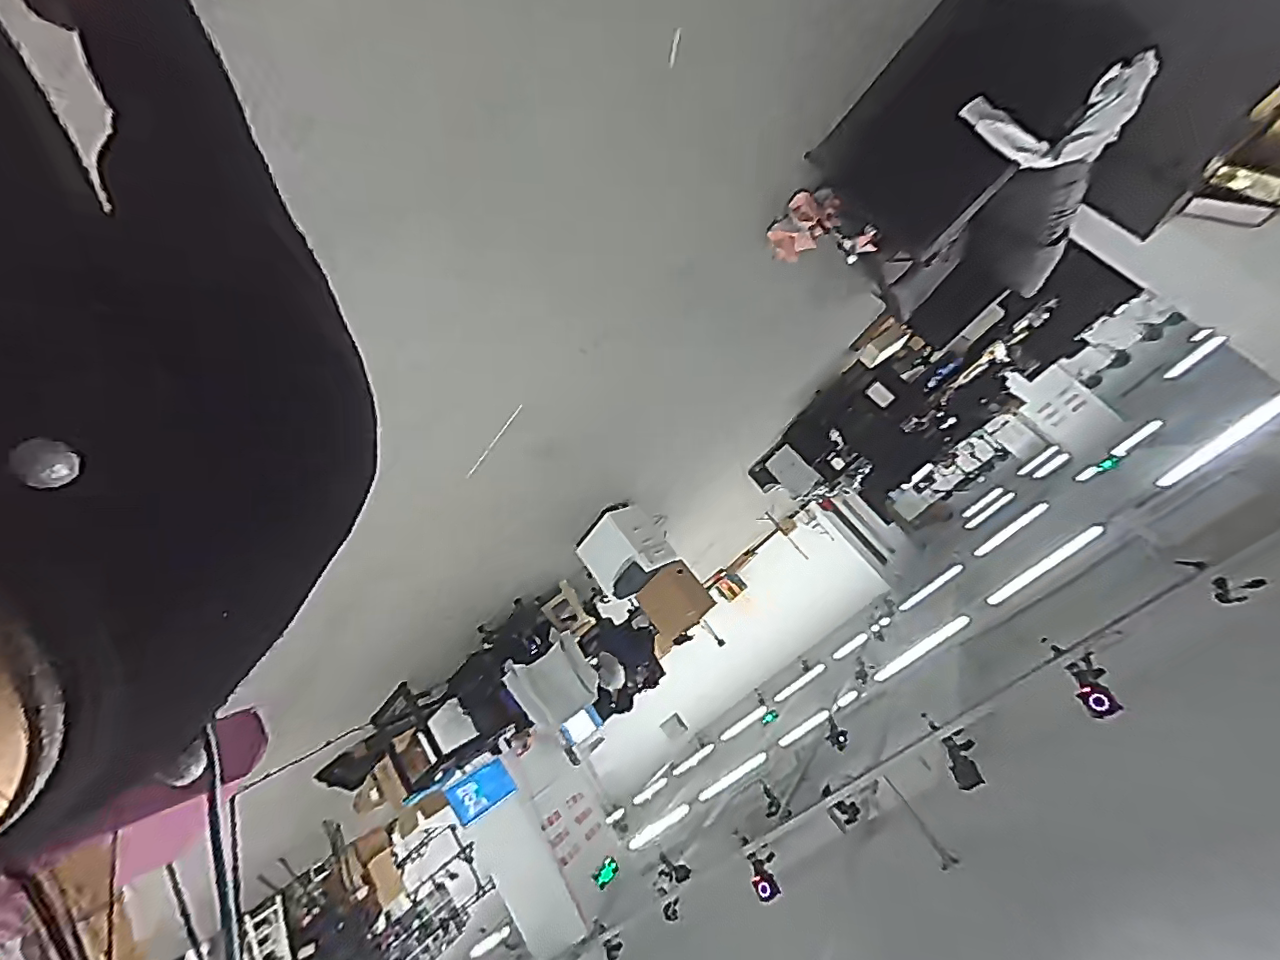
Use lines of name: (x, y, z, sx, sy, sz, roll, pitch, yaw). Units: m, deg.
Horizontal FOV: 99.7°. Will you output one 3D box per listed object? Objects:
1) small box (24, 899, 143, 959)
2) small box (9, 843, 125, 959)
small box: (-1.458, 1.255, 1.417, 0.168, 0.176, 0.179, -47, 158, 25)
small box: (-1.558, 1.138, 1.470, 0.168, 0.176, 0.179, -48, 159, 24)
